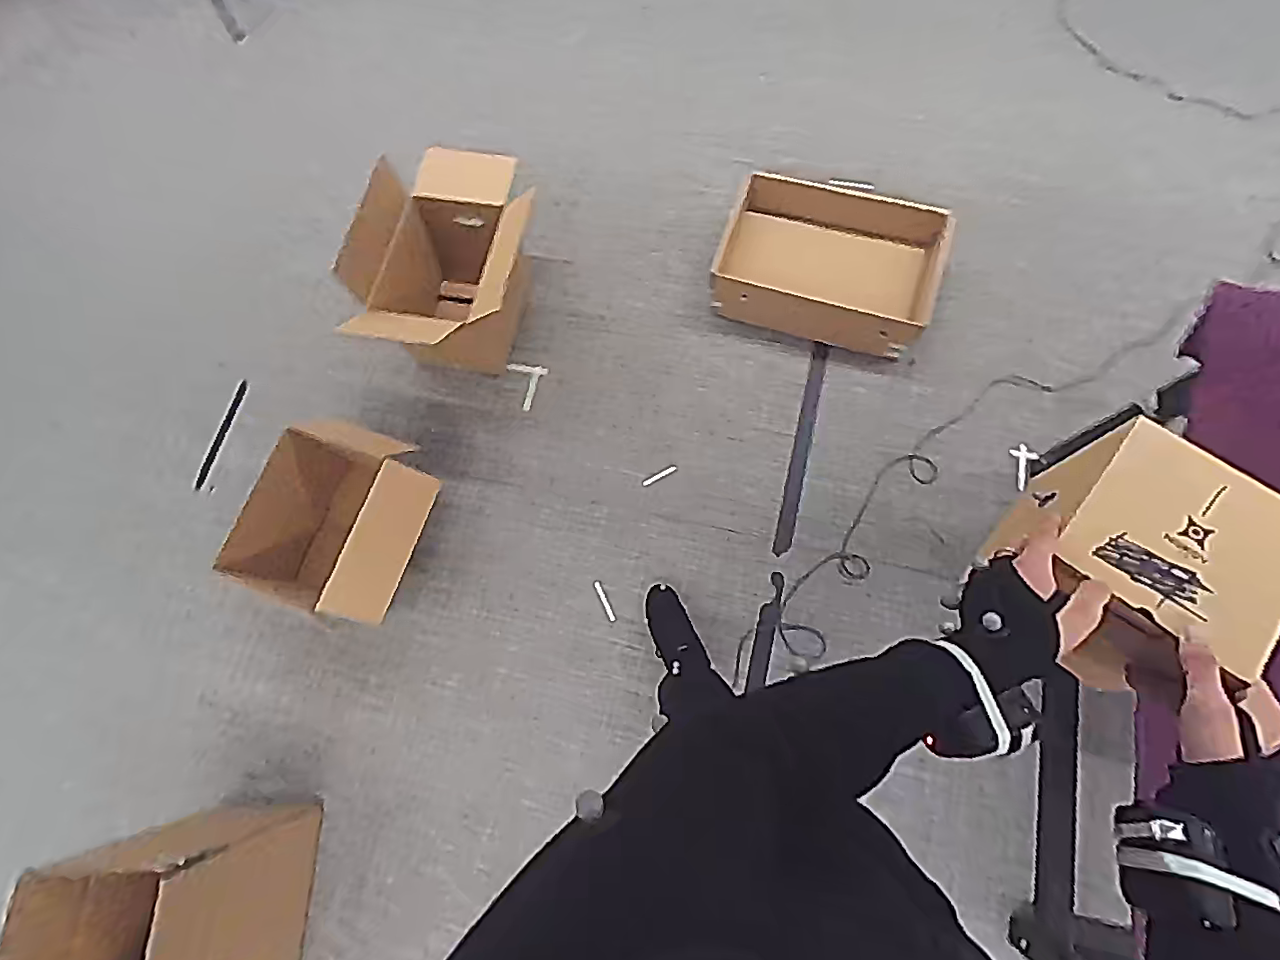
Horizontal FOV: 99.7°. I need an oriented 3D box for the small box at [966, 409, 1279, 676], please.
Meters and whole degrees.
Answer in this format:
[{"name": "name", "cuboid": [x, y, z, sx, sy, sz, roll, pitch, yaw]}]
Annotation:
[{"name": "small box", "cuboid": [0.462, 0.072, 0.531, 0.168, 0.176, 0.179, 38, 75, 17]}]
